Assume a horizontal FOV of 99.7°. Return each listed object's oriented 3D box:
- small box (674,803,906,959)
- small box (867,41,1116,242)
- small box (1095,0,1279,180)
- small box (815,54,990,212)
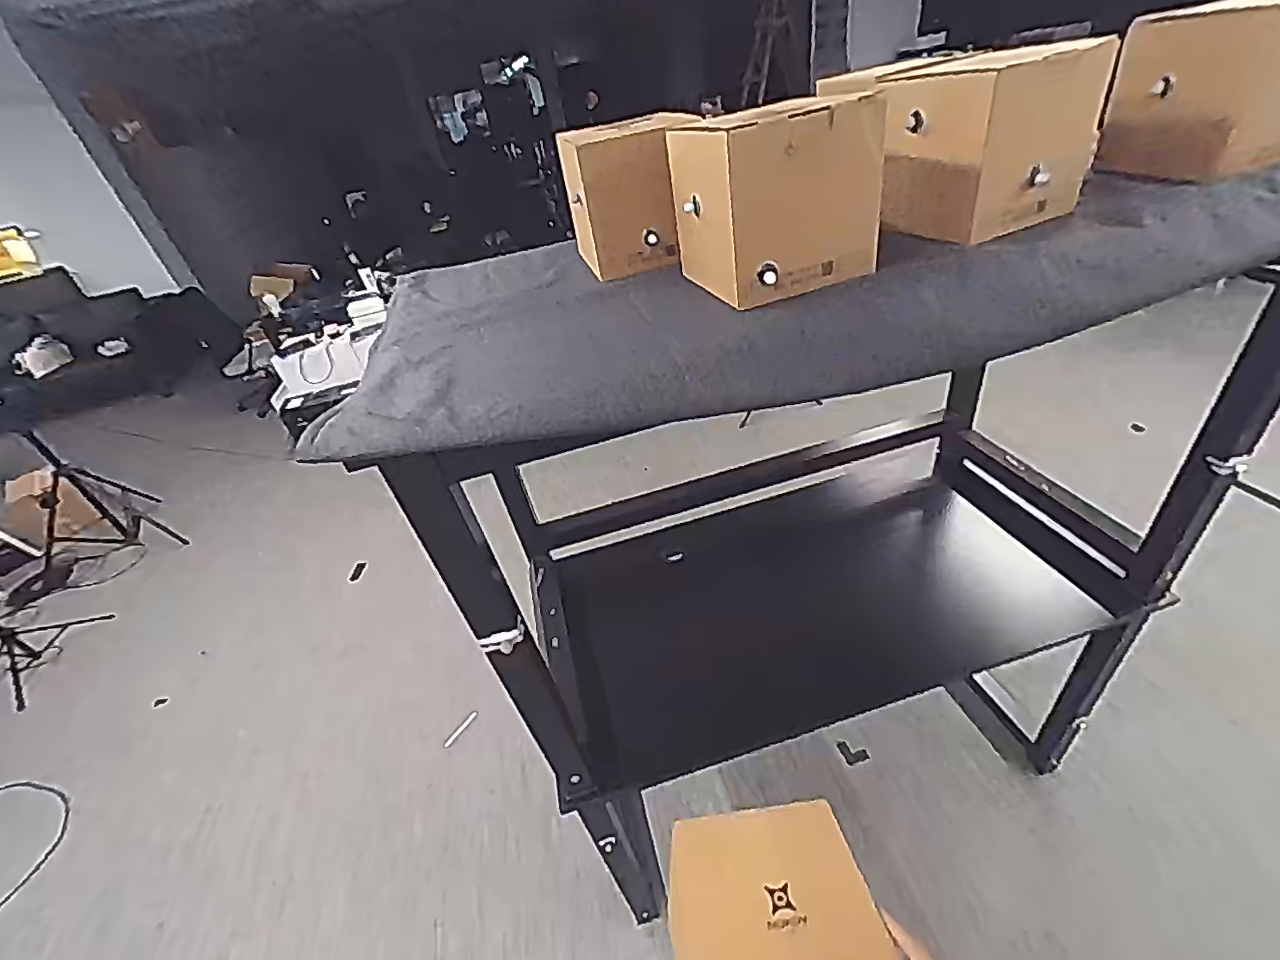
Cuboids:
[{"bbox_3d":[0.128,0.447,0.506,0.168,0.176,0.179,-4,26,-8],"label":"small box"},{"bbox_3d":[0.398,-0.400,0.651,0.168,0.176,0.179,-22,38,-12],"label":"small box"},{"bbox_3d":[0.724,-0.482,0.667,0.168,0.176,0.179,-15,36,-3],"label":"small box"},{"bbox_3d":[0.385,-0.529,0.829,0.179,0.176,0.168,-15,36,-5],"label":"small box"}]
